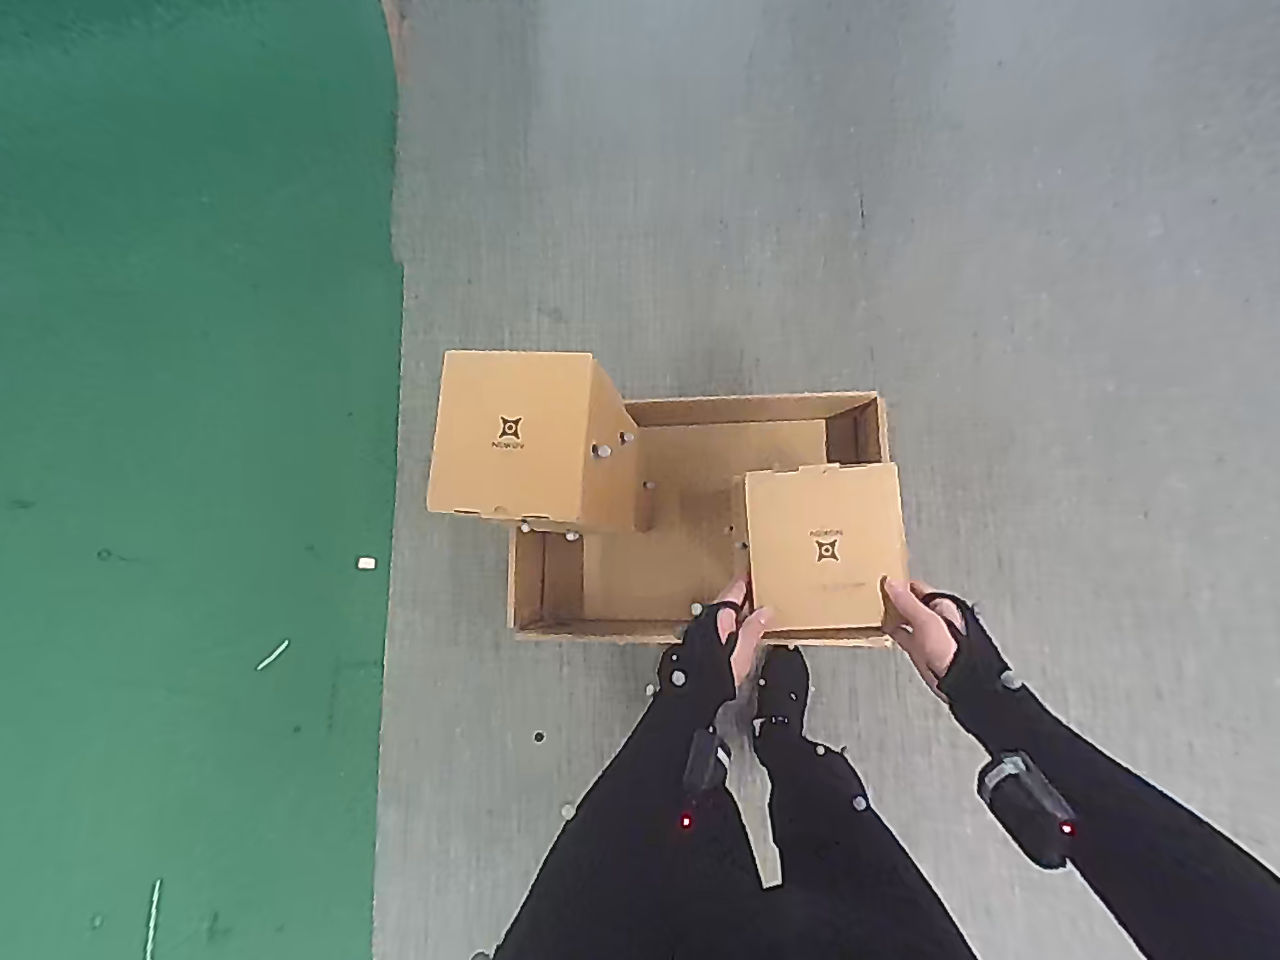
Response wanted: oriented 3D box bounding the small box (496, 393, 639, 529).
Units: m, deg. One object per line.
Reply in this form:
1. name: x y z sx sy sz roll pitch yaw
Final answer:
1. small box: -0.097 -0.024 0.795 0.168 0.176 0.179 3 83 10

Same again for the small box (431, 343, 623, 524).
1. small box: -0.118 -0.045 0.636 0.168 0.176 0.179 4 84 9

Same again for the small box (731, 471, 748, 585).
1. small box: 0.238 0.082 0.897 0.168 0.176 0.179 -2 81 8

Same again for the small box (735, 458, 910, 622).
1. small box: 0.209 0.073 0.667 0.168 0.176 0.179 -3 85 5

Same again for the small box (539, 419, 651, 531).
1. small box: -0.074 -0.003 0.955 0.168 0.176 0.179 0 82 10
